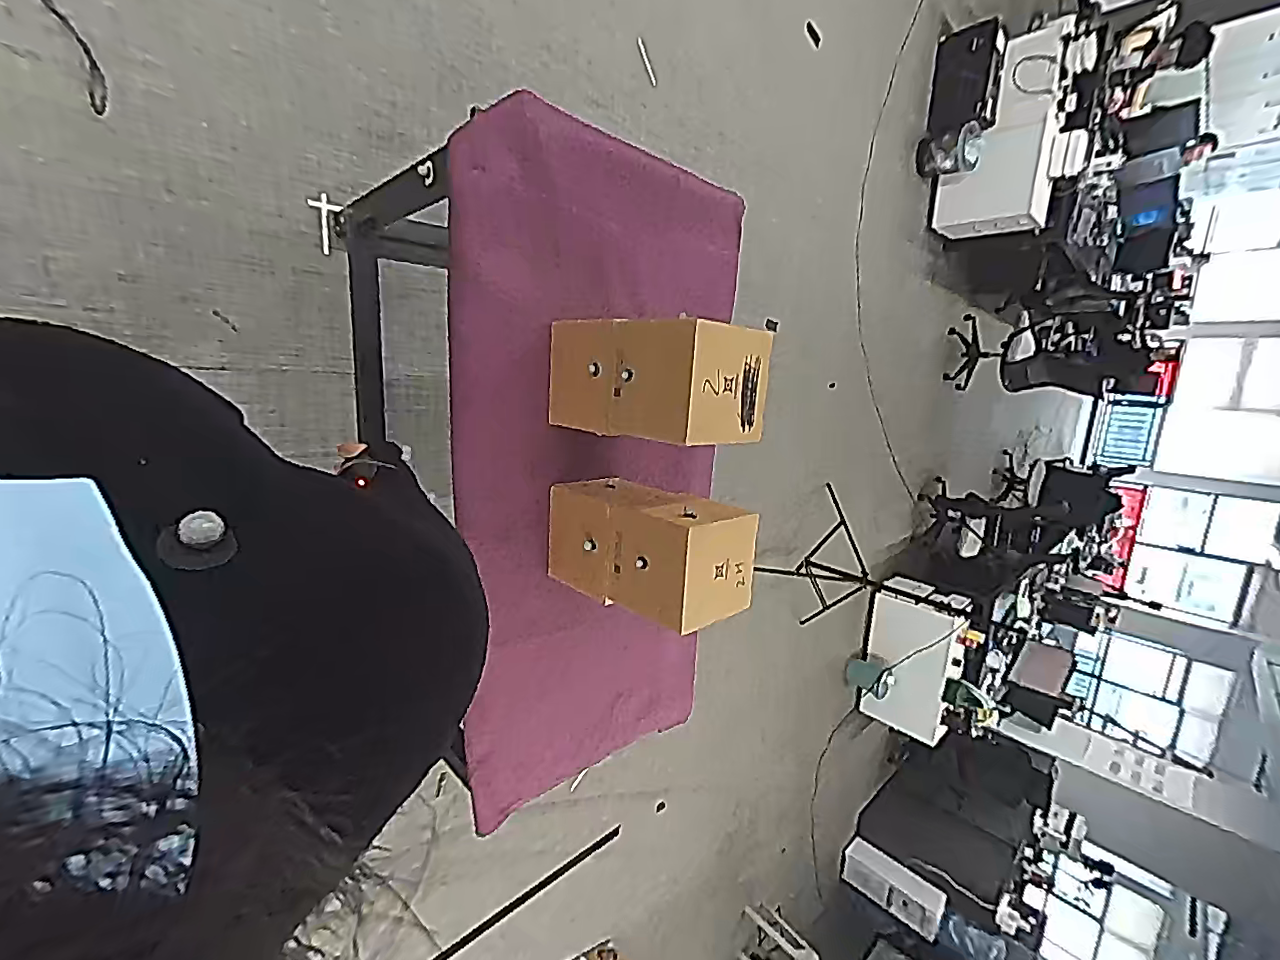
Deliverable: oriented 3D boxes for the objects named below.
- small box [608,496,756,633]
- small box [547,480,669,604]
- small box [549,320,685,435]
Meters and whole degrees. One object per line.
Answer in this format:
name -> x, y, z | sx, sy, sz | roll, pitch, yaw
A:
small box -> 0.064, 0.125, 0.885 | 0.179, 0.176, 0.168 | -6, 104, -44
small box -> -0.057, 0.104, 0.995 | 0.168, 0.176, 0.179 | -6, 104, -44
small box -> -0.043, -0.175, 0.935 | 0.168, 0.176, 0.179 | -7, 106, -44
